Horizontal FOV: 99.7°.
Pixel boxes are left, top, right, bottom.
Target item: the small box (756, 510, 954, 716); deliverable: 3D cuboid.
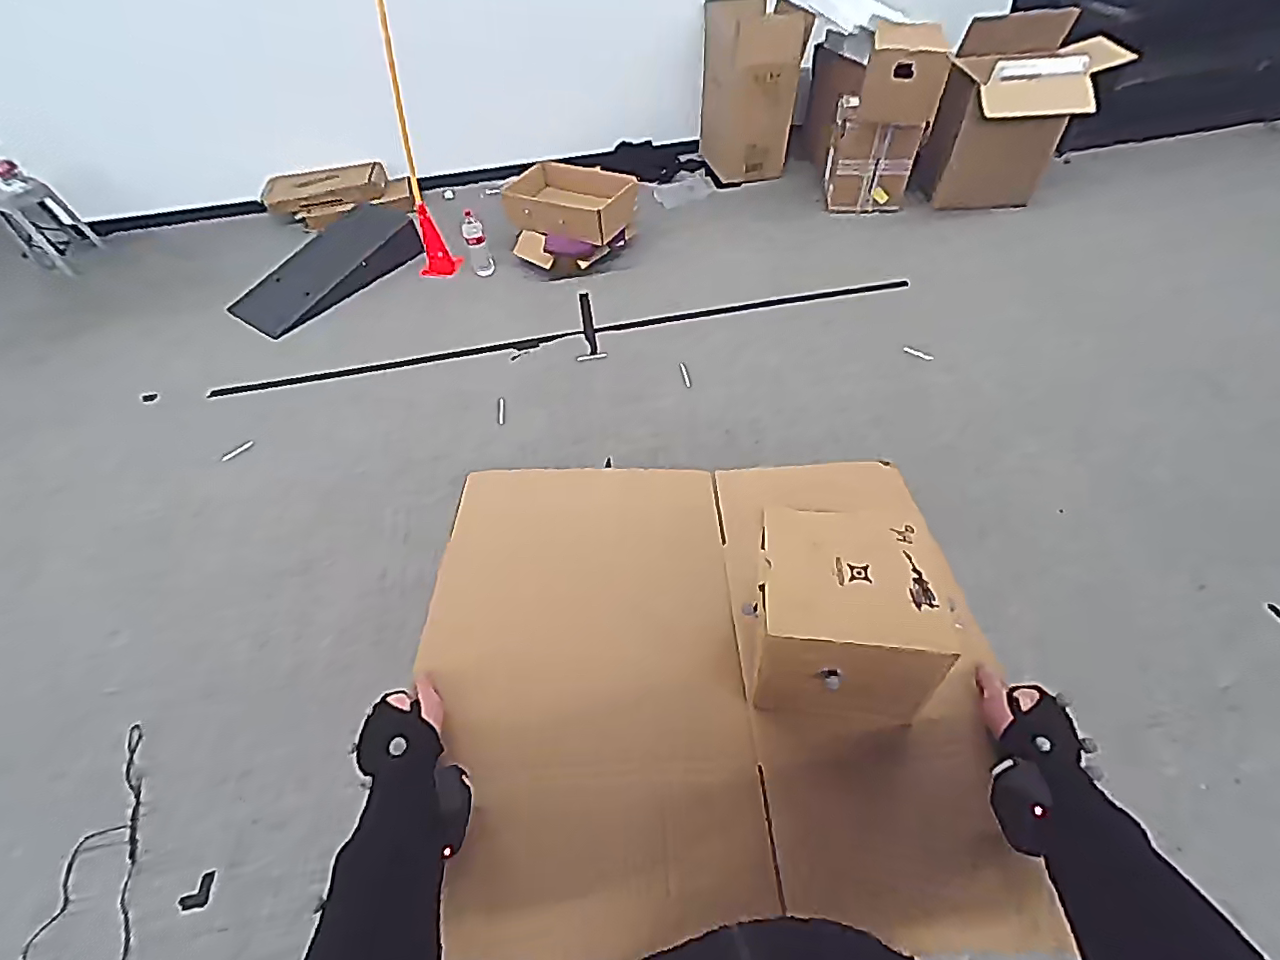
[{"bbox_3d":[0.224,0.153,0.620,0.179,0.176,0.168,2,46,10],"label":"small box"}]
